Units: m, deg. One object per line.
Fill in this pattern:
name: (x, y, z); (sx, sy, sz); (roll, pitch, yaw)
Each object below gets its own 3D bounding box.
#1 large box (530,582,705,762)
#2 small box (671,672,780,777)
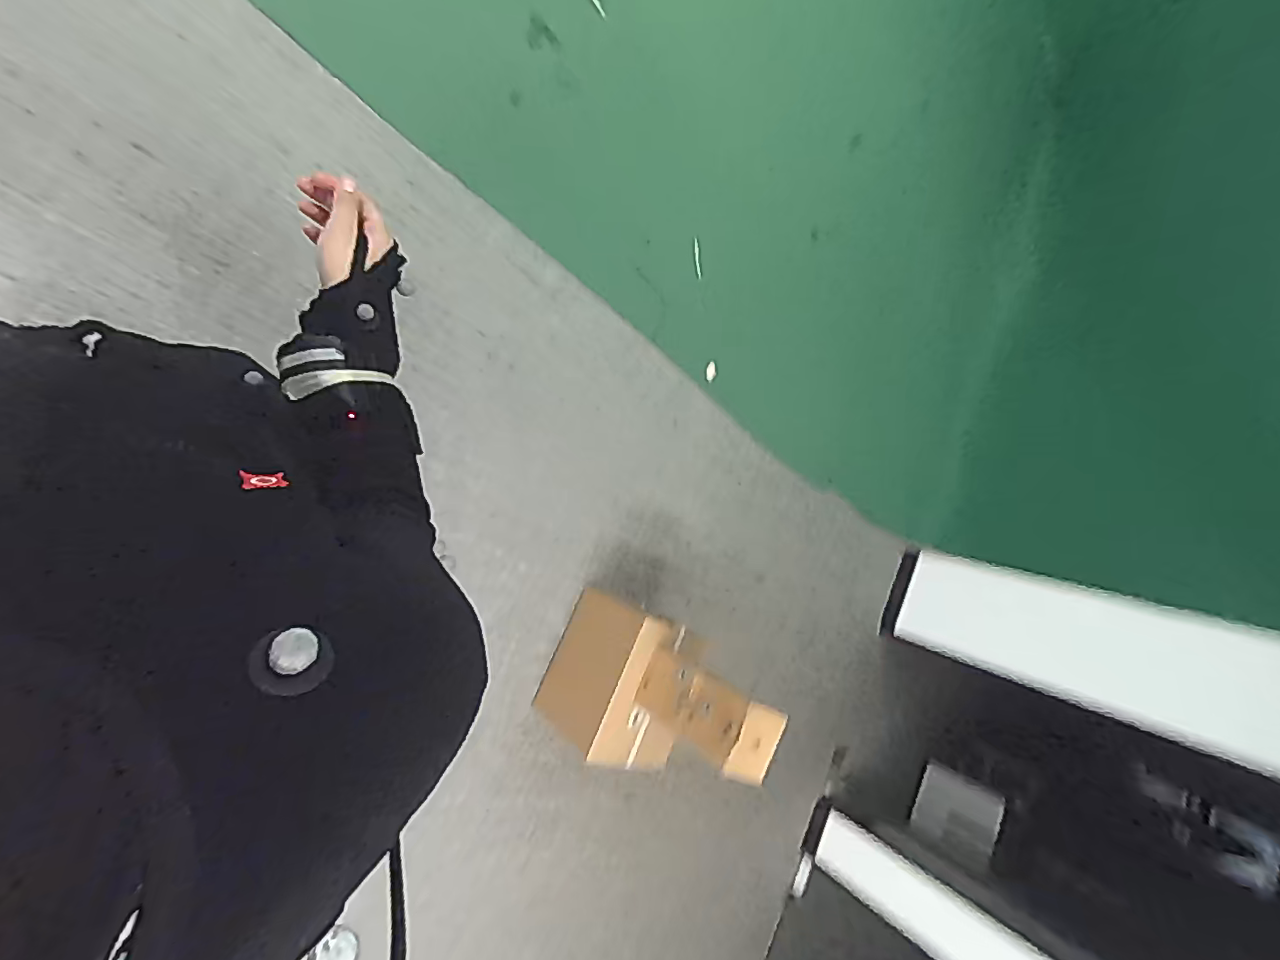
large box: (-0.070, 0.574, 1.647); (0.320, 0.320, 0.408); (30, 81, -38)
small box: (0.212, 0.606, 1.351); (0.179, 0.176, 0.168); (37, 76, -38)
